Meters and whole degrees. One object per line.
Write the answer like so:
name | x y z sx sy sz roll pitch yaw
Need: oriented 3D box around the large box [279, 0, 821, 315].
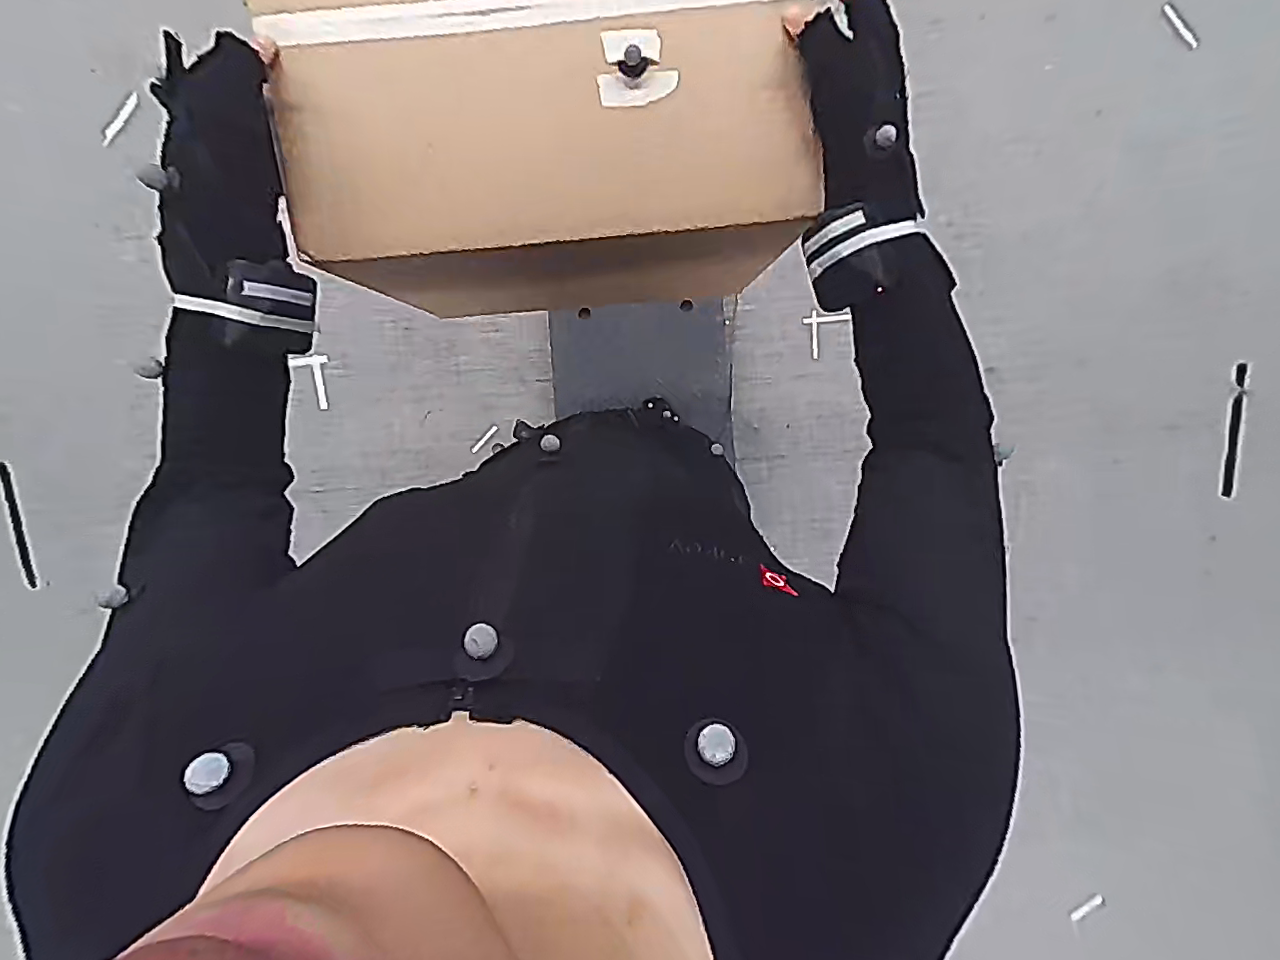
large box | -0.073 -0.367 0.552 0.408 0.320 0.320 -5 99 -1
